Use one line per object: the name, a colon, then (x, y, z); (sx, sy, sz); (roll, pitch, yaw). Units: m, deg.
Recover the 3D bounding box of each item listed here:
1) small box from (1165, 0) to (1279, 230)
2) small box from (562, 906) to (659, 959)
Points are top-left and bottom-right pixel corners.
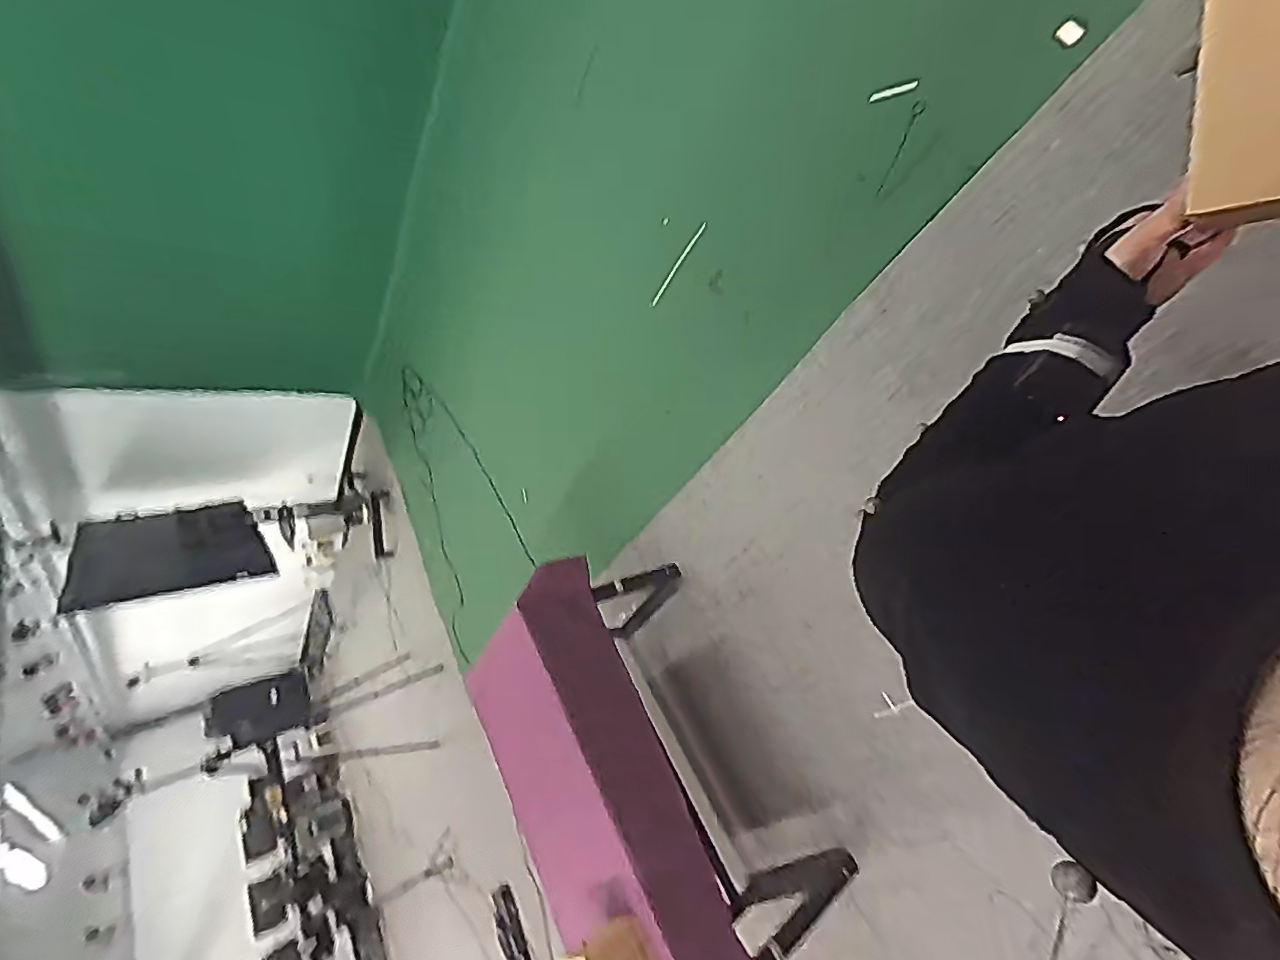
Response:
small box: (0.436, -0.255, 0.314); (0.179, 0.176, 0.168); (4, 108, 45)
small box: (-0.065, 1.228, 1.380); (0.179, 0.176, 0.168); (-50, 59, 41)
